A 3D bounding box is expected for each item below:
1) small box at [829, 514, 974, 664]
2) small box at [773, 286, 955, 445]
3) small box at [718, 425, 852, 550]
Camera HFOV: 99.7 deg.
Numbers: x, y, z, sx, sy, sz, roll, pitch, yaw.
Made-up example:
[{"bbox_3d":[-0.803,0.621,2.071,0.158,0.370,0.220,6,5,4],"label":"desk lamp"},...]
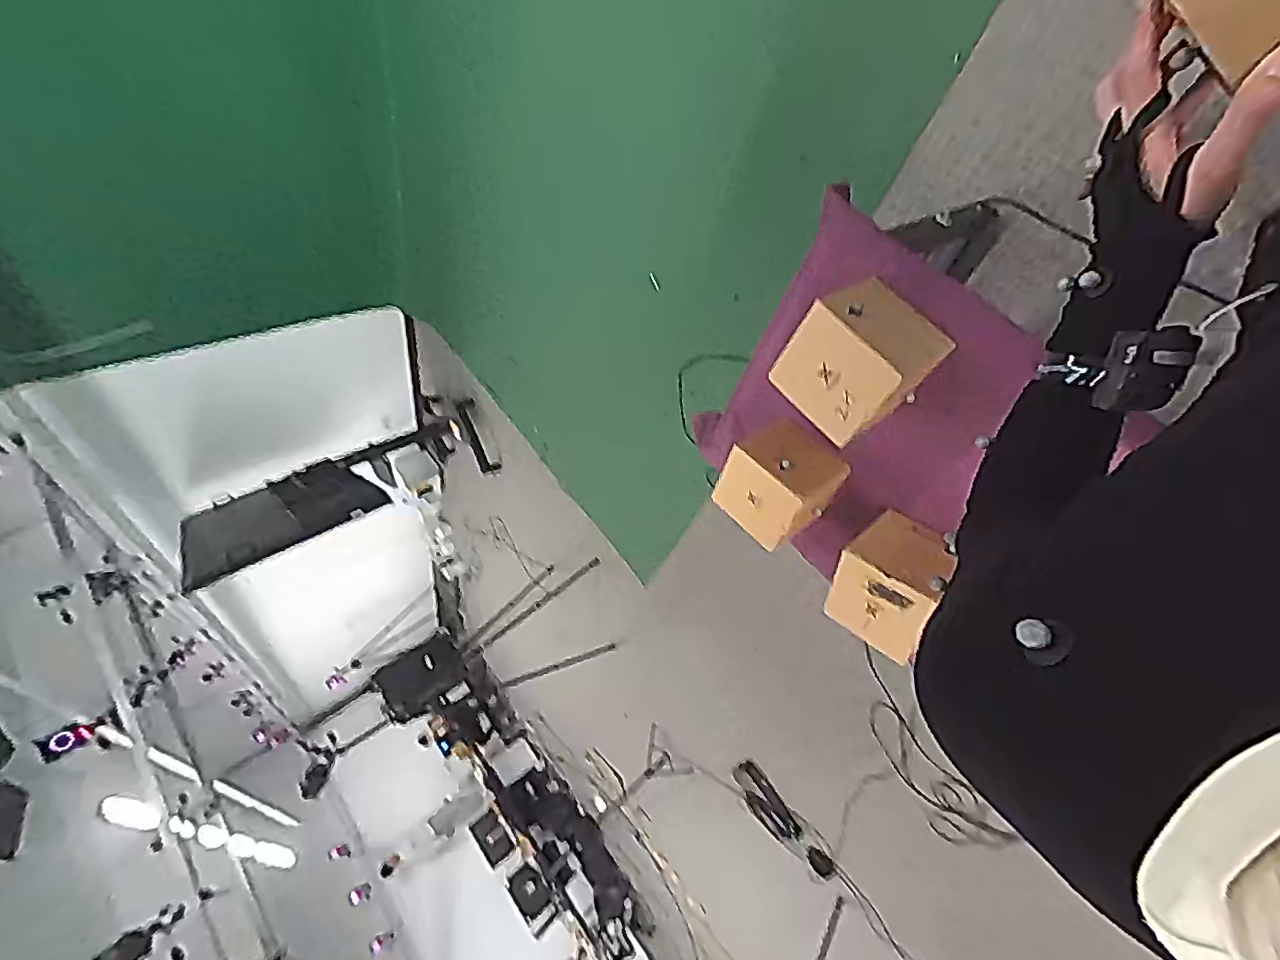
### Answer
[{"bbox_3d":[0.486,0.193,1.004,0.168,0.176,0.179,34,139,36],"label":"small box"},{"bbox_3d":[0.361,-0.193,0.882,0.179,0.176,0.168,49,147,17],"label":"small box"},{"bbox_3d":[0.299,0.006,1.123,0.179,0.176,0.168,43,143,24],"label":"small box"}]
